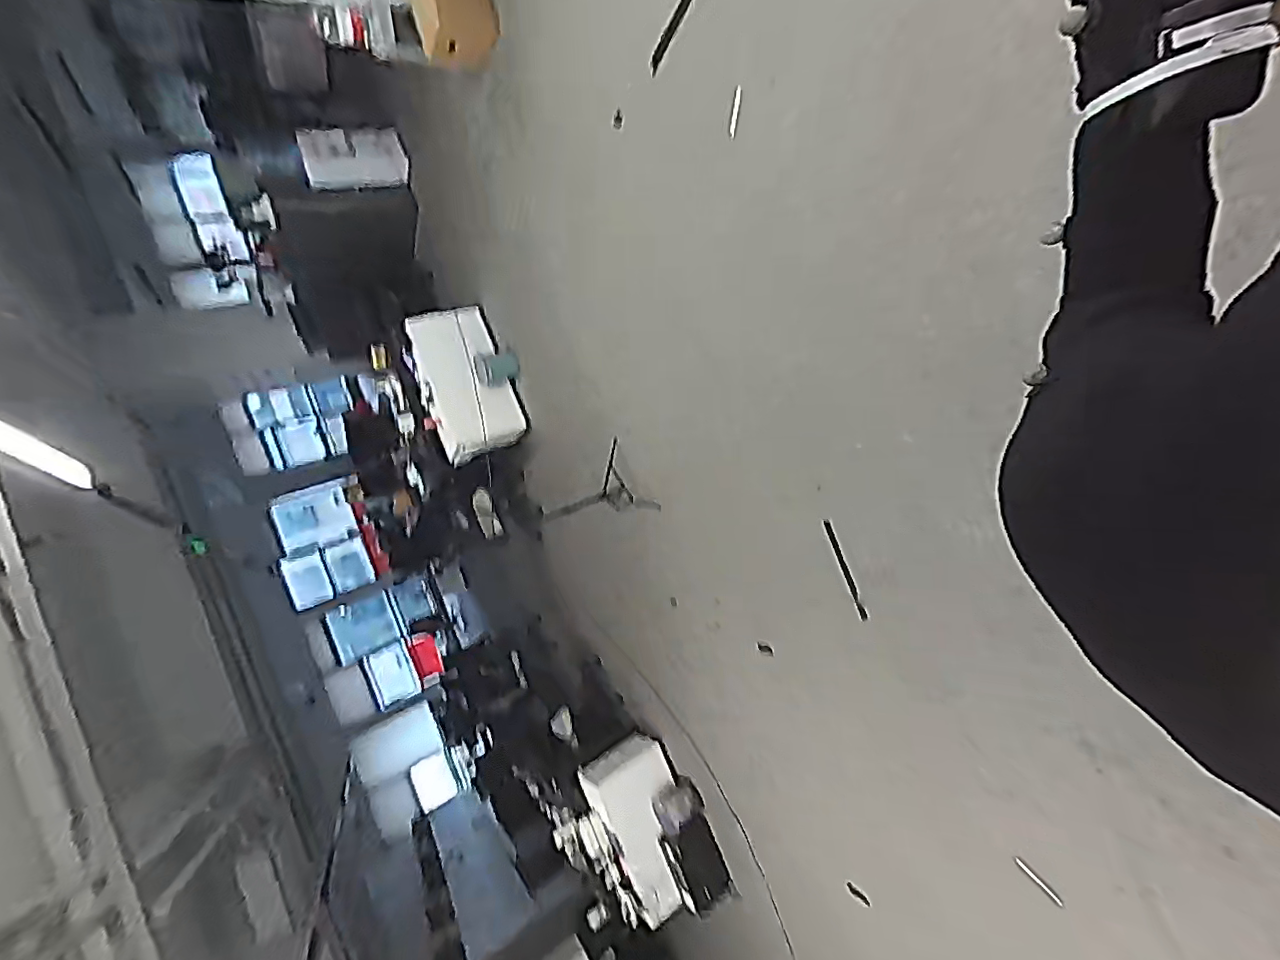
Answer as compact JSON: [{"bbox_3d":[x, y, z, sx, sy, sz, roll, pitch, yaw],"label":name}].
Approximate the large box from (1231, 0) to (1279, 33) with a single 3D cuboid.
[{"bbox_3d":[0.548,-0.488,0.225,0.408,0.320,0.320,7,117,53],"label":"large box"}]
